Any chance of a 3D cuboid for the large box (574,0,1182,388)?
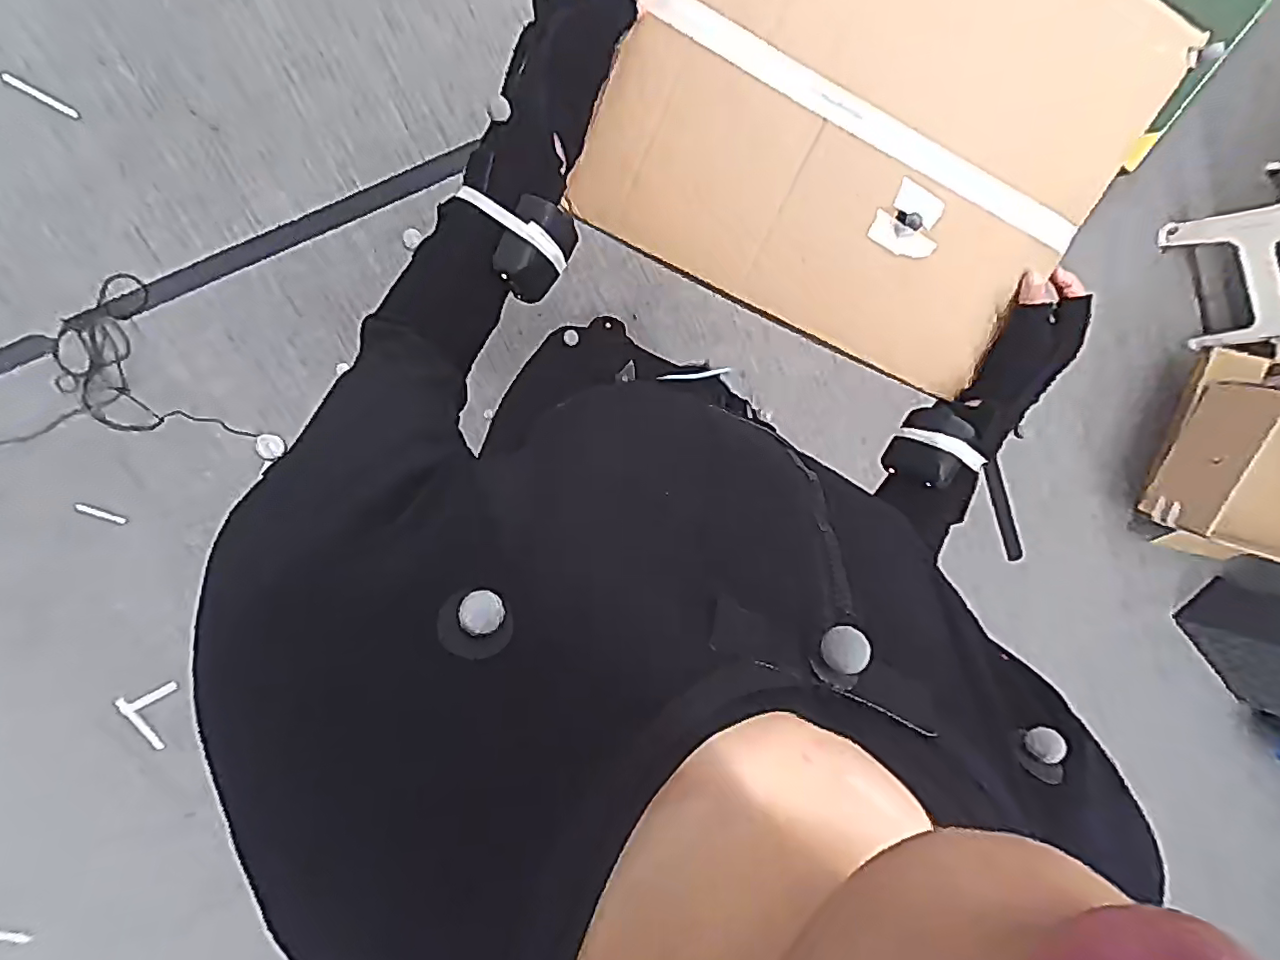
[{"bbox_3d":[0.176,-0.346,0.571,0.408,0.320,0.320,23,112,-12],"label":"large box"}]
